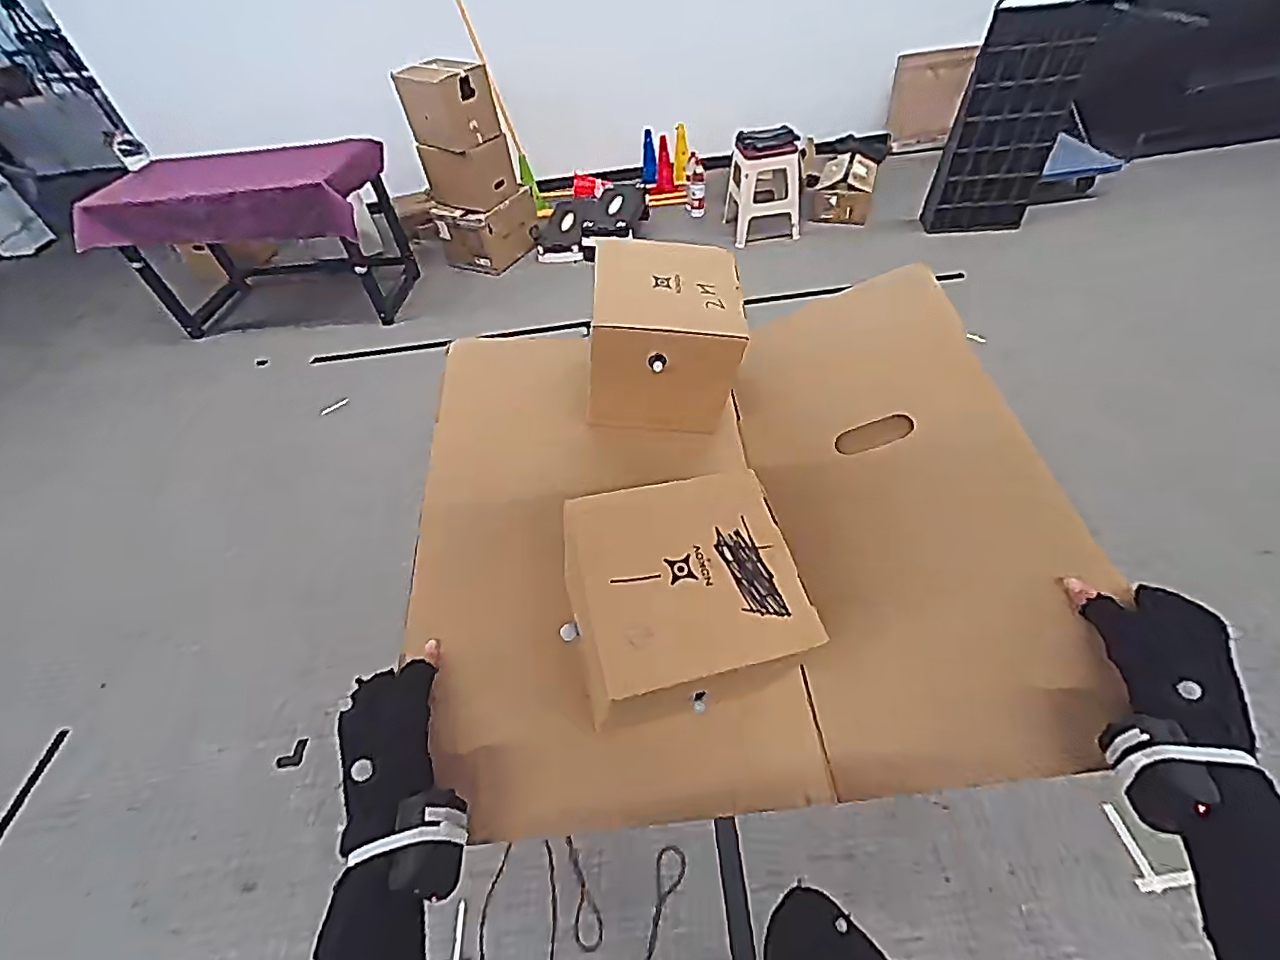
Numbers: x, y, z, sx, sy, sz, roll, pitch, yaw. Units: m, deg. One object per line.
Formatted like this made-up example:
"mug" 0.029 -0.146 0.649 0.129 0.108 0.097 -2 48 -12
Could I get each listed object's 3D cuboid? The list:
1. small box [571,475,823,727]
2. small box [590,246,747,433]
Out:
"small box" 0.034 0.117 0.511 0.179 0.176 0.168 -10 59 -13
"small box" 0.026 -0.176 0.706 0.179 0.176 0.168 4 56 -6
